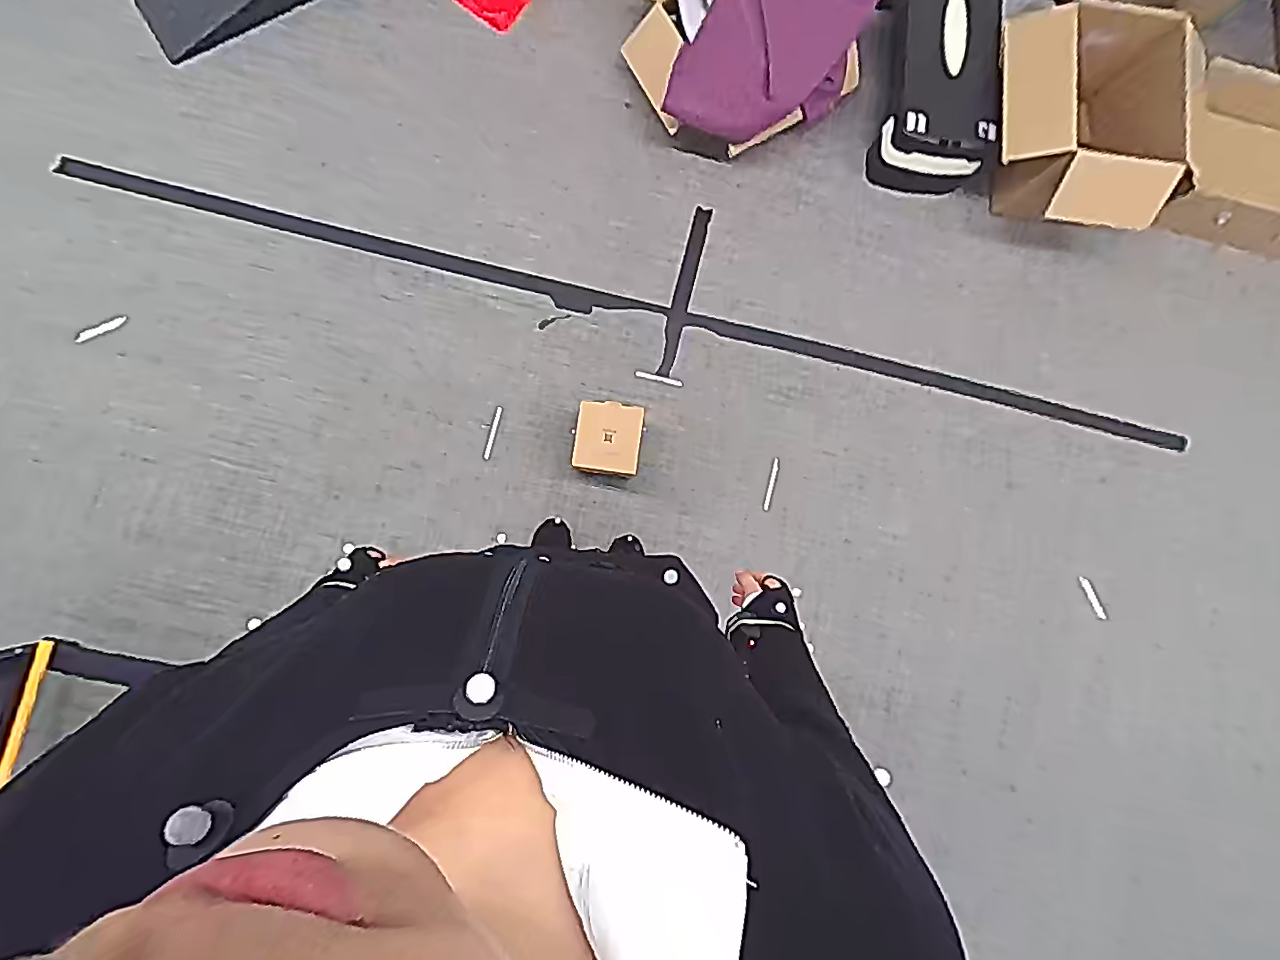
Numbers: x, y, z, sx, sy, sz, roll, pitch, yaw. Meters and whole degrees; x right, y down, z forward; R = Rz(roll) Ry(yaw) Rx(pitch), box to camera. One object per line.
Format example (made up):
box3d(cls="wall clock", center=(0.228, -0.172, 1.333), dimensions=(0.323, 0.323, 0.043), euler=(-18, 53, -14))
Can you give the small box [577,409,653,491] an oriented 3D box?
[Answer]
box3d(cls="small box", center=(-0.066, -0.070, 1.368), dimensions=(0.168, 0.176, 0.179), euler=(7, 87, -3))
